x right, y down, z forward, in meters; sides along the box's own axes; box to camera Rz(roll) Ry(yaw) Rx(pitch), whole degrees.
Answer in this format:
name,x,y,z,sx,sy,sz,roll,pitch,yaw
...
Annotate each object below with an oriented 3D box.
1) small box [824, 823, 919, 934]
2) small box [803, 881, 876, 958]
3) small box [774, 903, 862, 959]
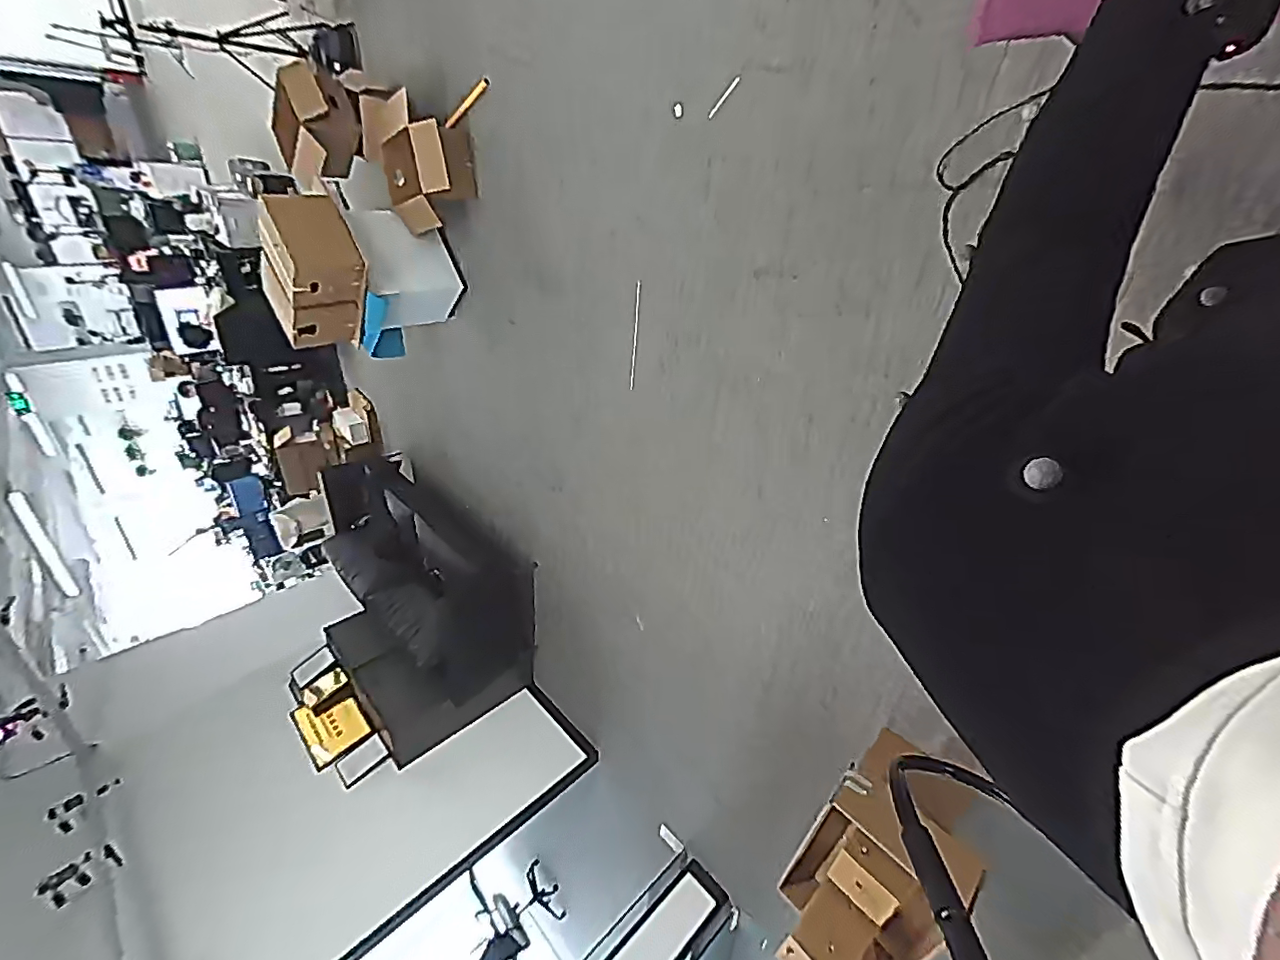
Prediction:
name,x,y,z,sx,sy,sz,roll,pitch,yaw
small box,0.672,1.143,1.570,0.179,0.176,0.168,32,129,34
small box,0.647,1.377,1.712,0.179,0.176,0.168,36,131,33
small box,0.529,1.426,1.608,0.179,0.176,0.168,34,128,32
